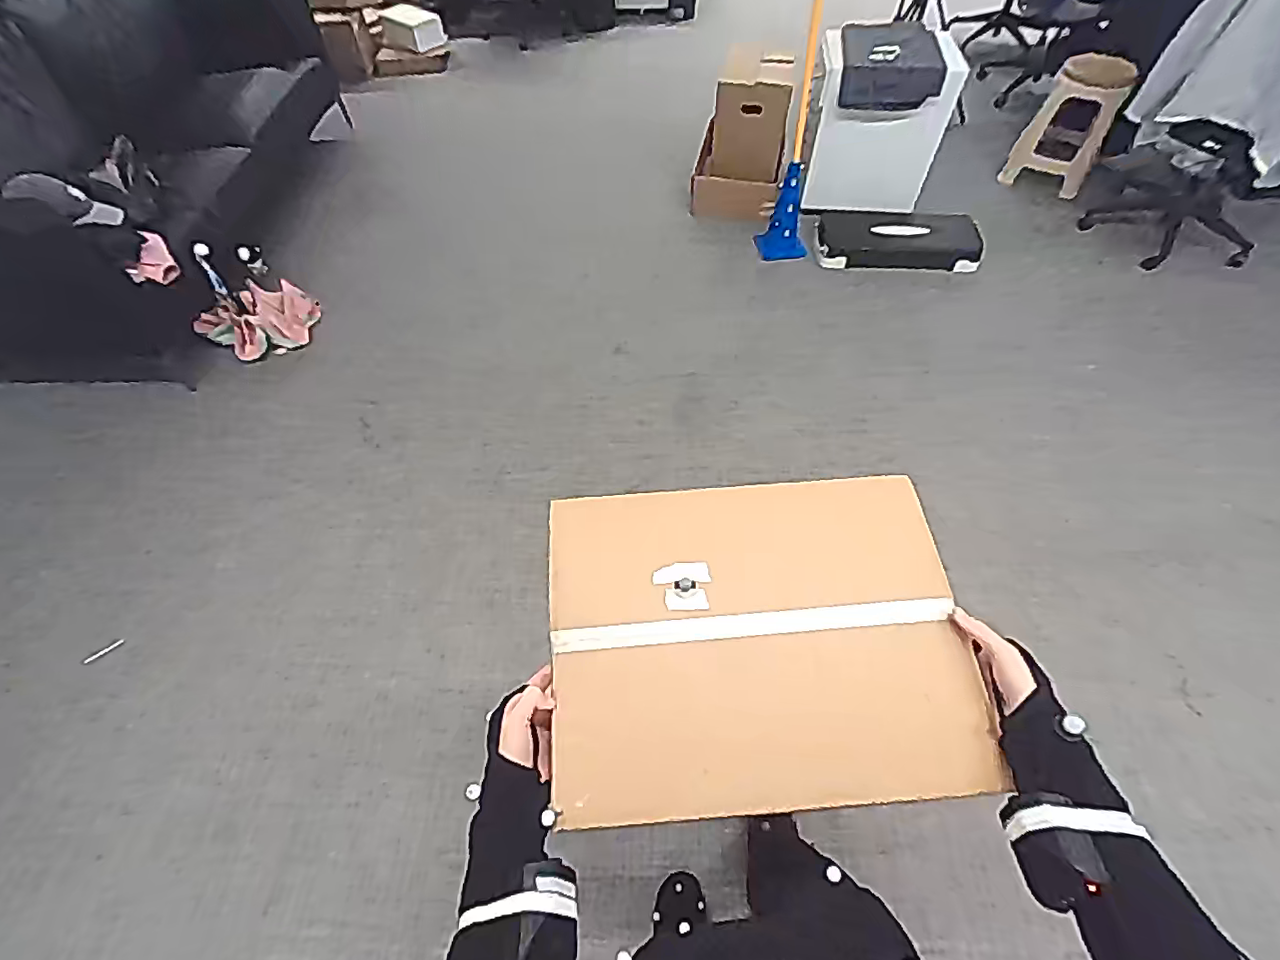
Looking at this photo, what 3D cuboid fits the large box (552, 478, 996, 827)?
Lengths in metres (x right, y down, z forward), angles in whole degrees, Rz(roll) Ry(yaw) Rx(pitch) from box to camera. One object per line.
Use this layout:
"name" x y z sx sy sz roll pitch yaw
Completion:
"large box" 0.118 0.220 0.682 0.408 0.320 0.320 -5 61 -1
